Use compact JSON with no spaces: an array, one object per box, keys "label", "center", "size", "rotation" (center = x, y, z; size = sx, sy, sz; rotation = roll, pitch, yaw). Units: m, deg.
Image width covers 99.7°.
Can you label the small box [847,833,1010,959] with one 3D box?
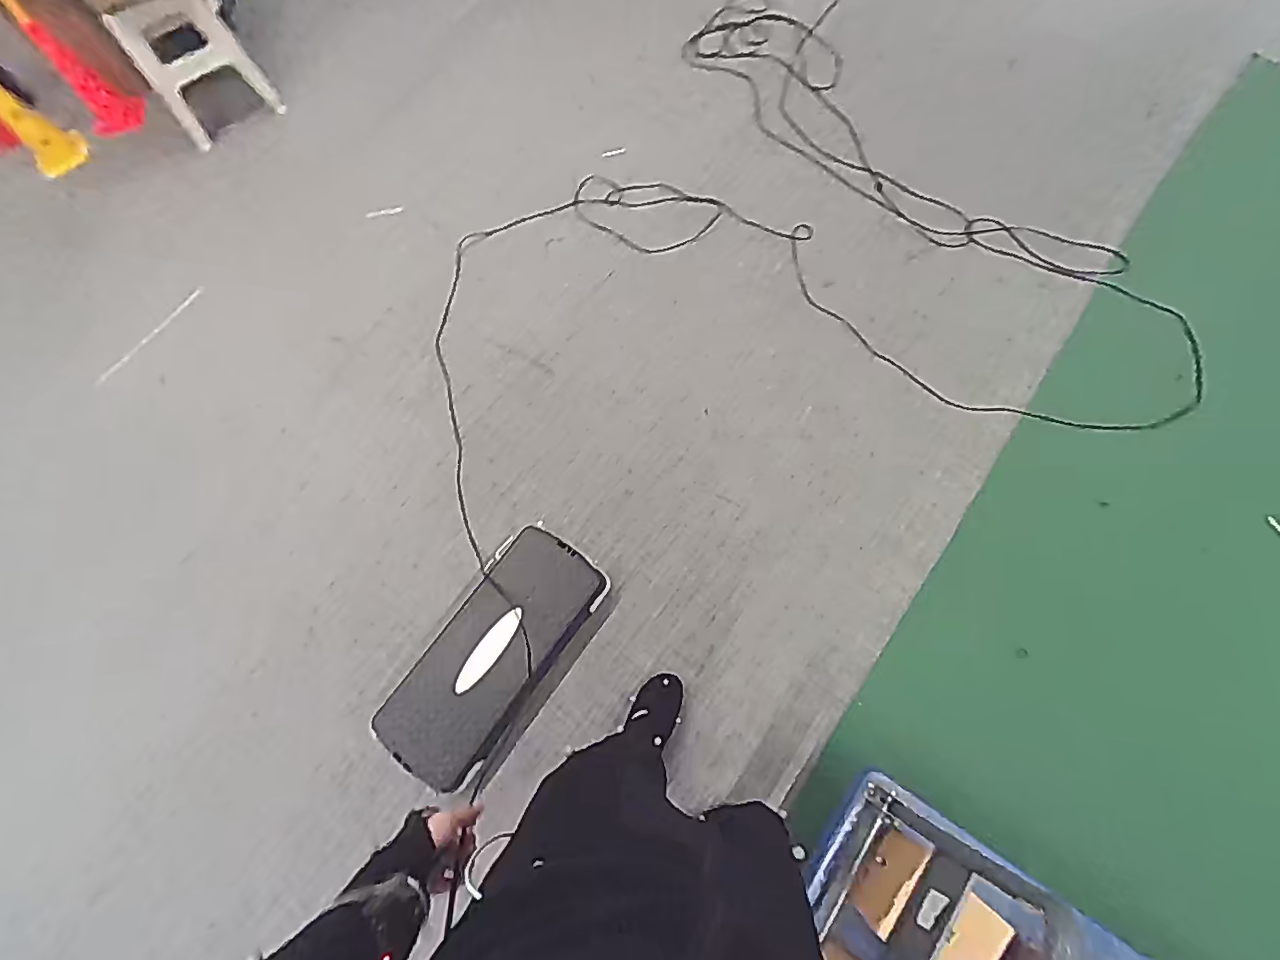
[{"label":"small box","center":[0.522,0.804,1.004],"size":[0.179,0.176,0.168],"rotation":[40,78,15]}]

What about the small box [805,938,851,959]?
[{"label":"small box","center":[0.366,0.974,0.952],"size":[0.168,0.176,0.179],"rotation":[30,76,13]}]

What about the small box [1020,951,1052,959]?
[{"label":"small box","center":[0.766,0.970,0.930],"size":[0.179,0.176,0.168],"rotation":[24,75,11]}]
